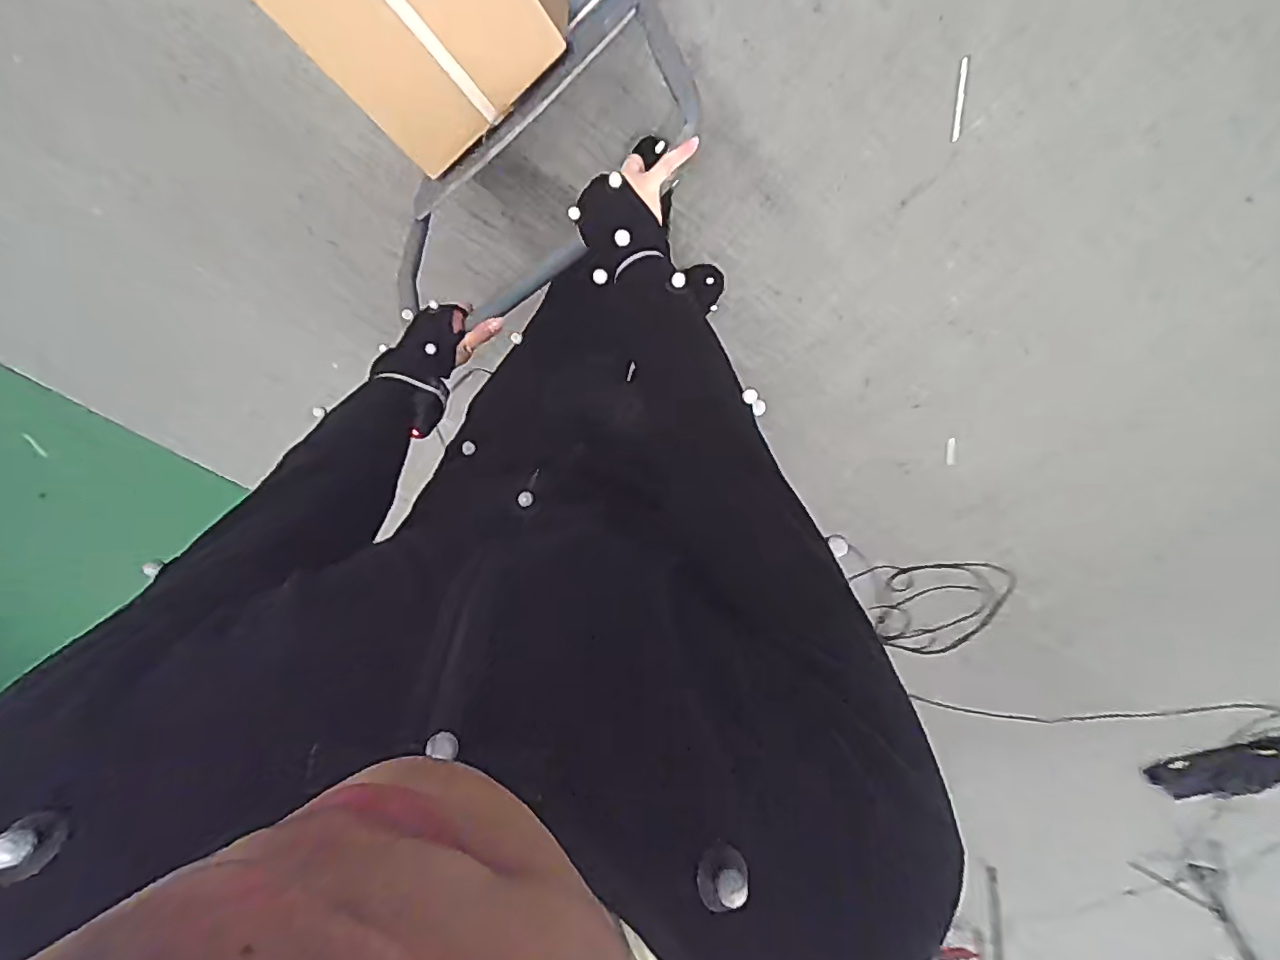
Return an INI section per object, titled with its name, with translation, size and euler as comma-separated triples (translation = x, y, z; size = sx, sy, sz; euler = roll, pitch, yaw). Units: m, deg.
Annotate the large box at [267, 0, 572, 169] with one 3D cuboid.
[large box]
translation = -0.351, -0.805, 0.839
size = 0.320, 0.320, 0.408
euler = -27, 135, 25
